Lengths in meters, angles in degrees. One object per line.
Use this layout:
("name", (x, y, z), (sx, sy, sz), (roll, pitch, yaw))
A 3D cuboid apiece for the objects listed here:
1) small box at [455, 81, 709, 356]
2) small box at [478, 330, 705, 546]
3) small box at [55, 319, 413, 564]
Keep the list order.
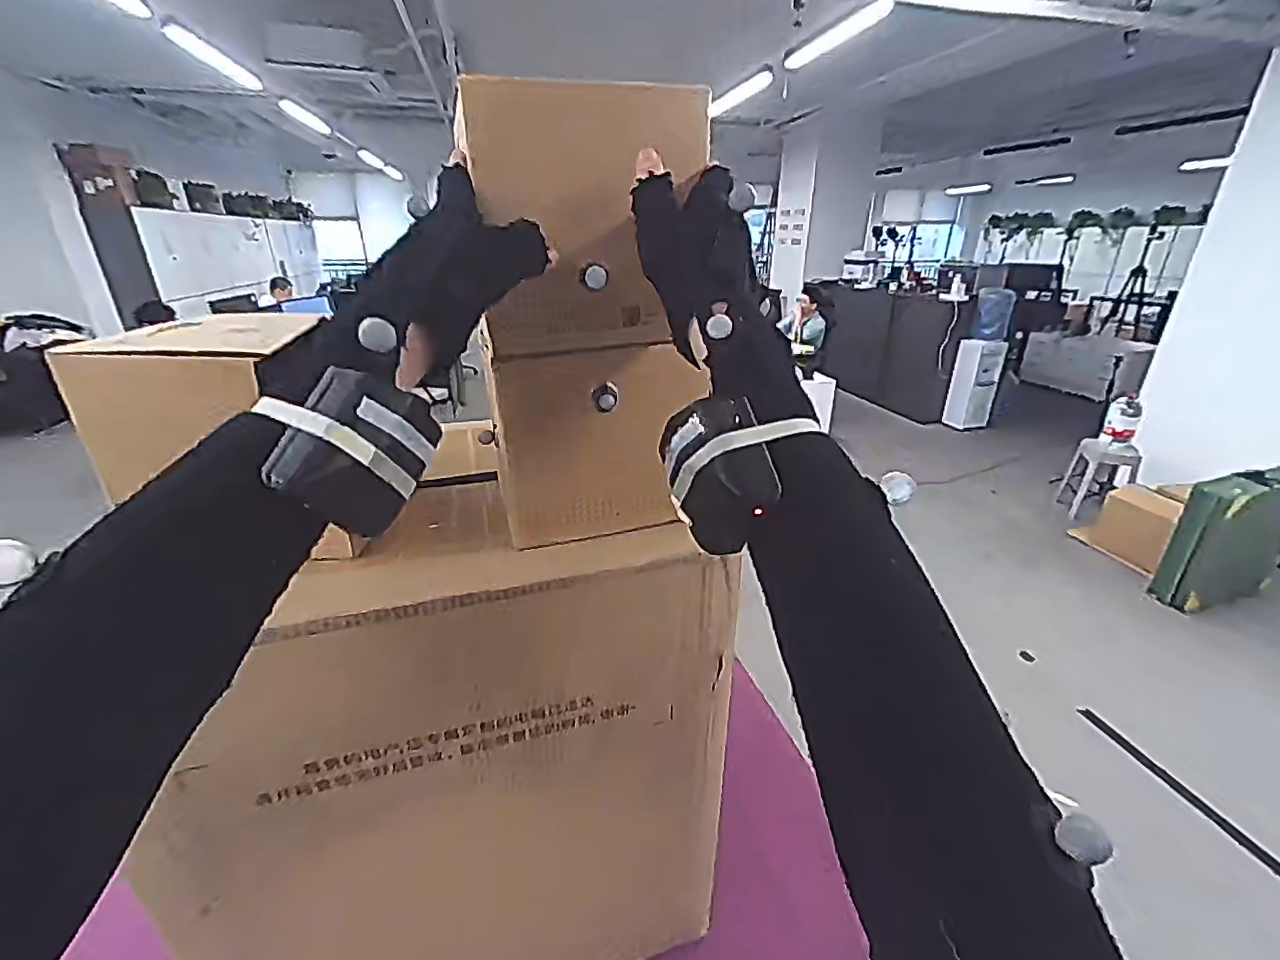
("small box", (-0.055, -0.203, 0.446), (0.168, 0.176, 0.179), (-10, 26, -16))
("small box", (-0.050, -0.053, 0.515), (0.179, 0.176, 0.168), (-8, 26, -17))
("small box", (-0.317, -0.038, 0.475), (0.179, 0.176, 0.168), (1, 25, -4))
